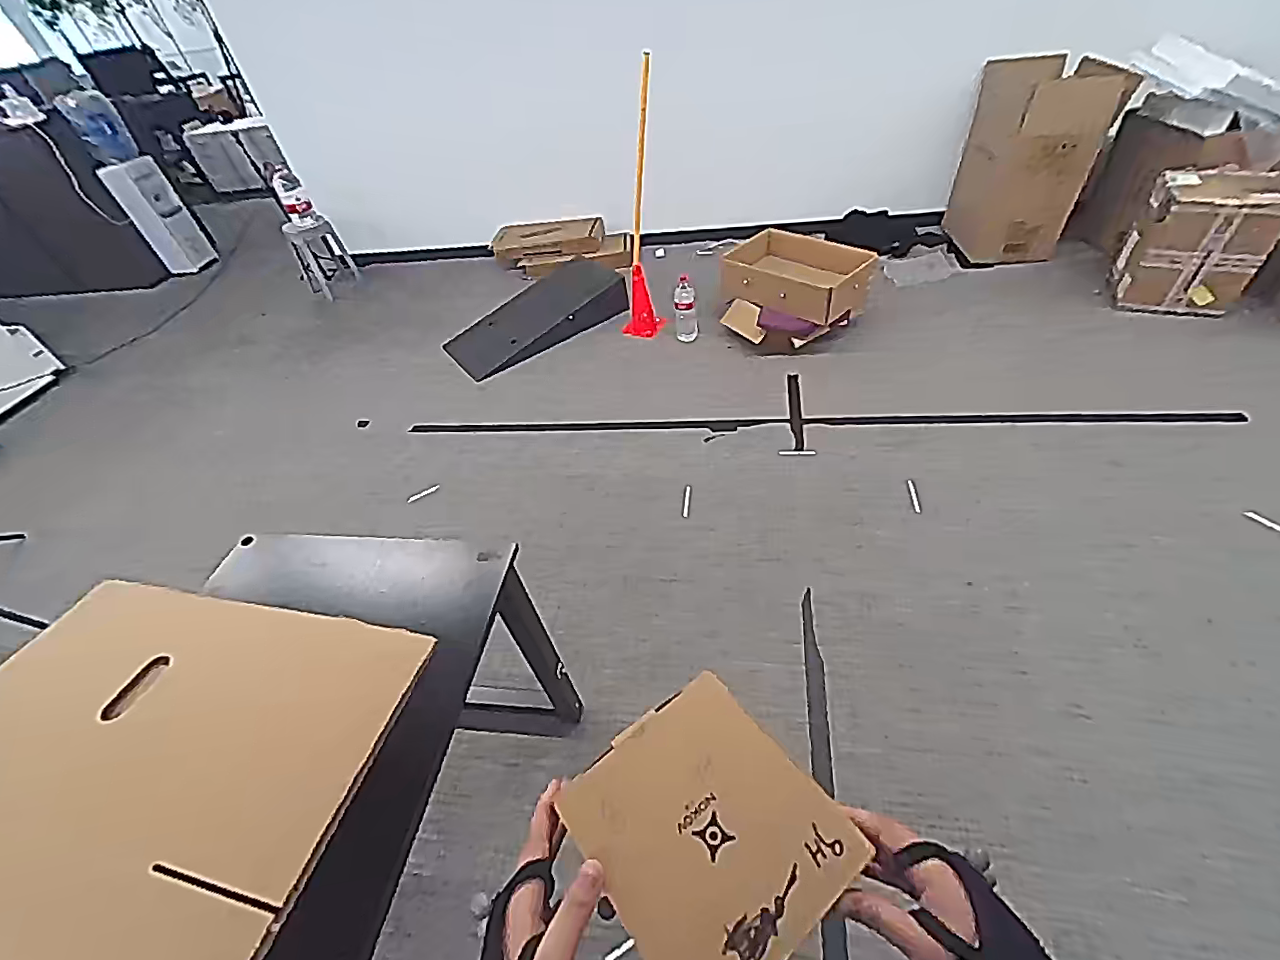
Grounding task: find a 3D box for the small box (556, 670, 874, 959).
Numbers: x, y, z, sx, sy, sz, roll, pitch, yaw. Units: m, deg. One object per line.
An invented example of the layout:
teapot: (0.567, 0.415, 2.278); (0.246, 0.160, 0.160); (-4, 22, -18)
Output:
small box: (0.054, 0.305, 0.450); (0.168, 0.176, 0.179); (-32, 50, -24)
